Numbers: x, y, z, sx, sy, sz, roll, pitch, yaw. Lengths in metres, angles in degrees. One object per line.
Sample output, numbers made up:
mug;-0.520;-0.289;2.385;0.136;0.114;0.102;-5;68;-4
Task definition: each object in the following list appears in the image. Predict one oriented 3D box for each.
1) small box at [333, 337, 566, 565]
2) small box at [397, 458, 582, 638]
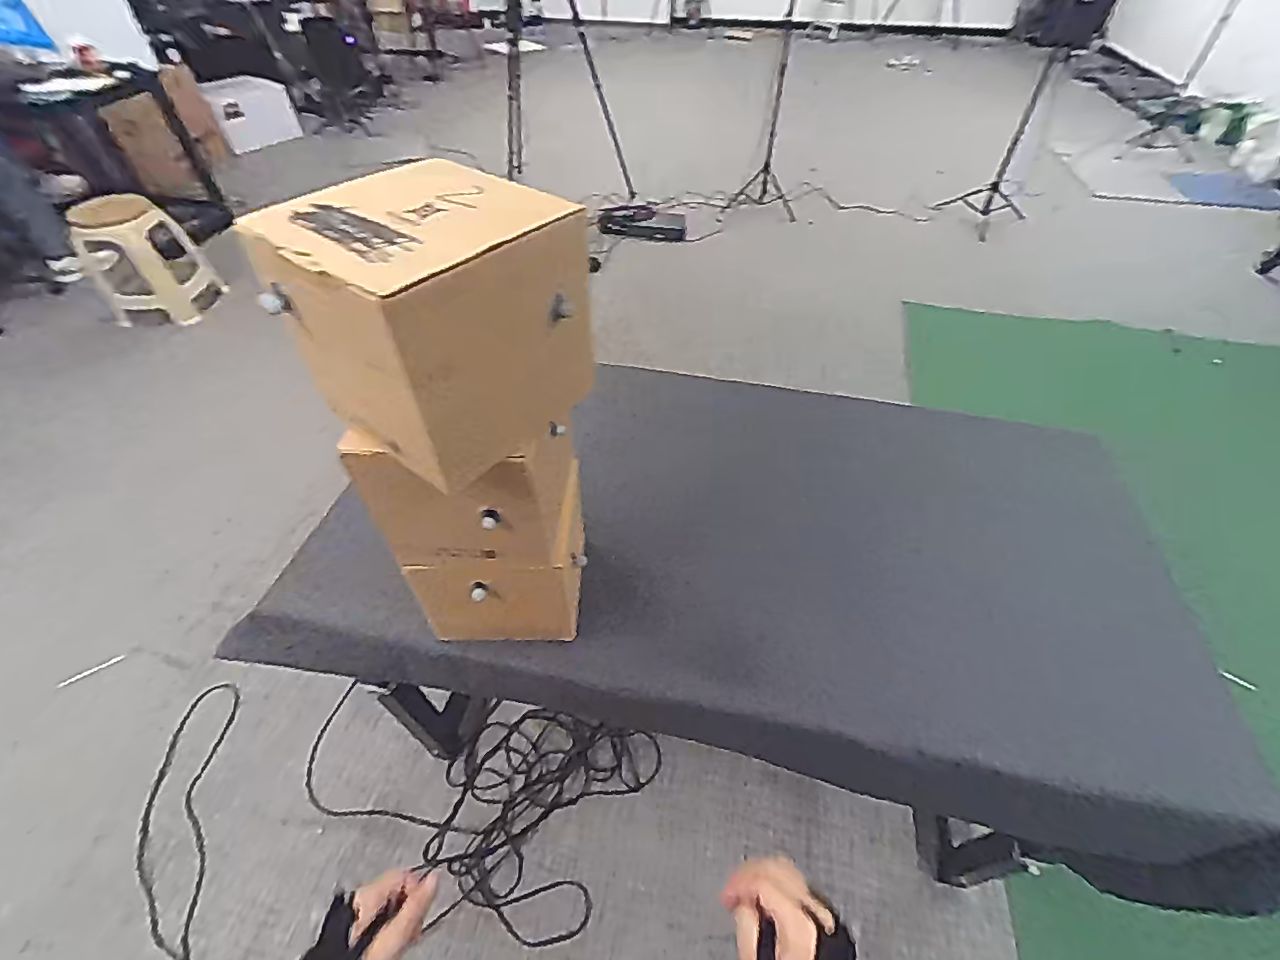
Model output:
small box;-0.173;-0.028;0.564;0.168;0.176;0.179;3;46;1
small box;-0.169;0.086;0.680;0.179;0.176;0.168;0;47;0
